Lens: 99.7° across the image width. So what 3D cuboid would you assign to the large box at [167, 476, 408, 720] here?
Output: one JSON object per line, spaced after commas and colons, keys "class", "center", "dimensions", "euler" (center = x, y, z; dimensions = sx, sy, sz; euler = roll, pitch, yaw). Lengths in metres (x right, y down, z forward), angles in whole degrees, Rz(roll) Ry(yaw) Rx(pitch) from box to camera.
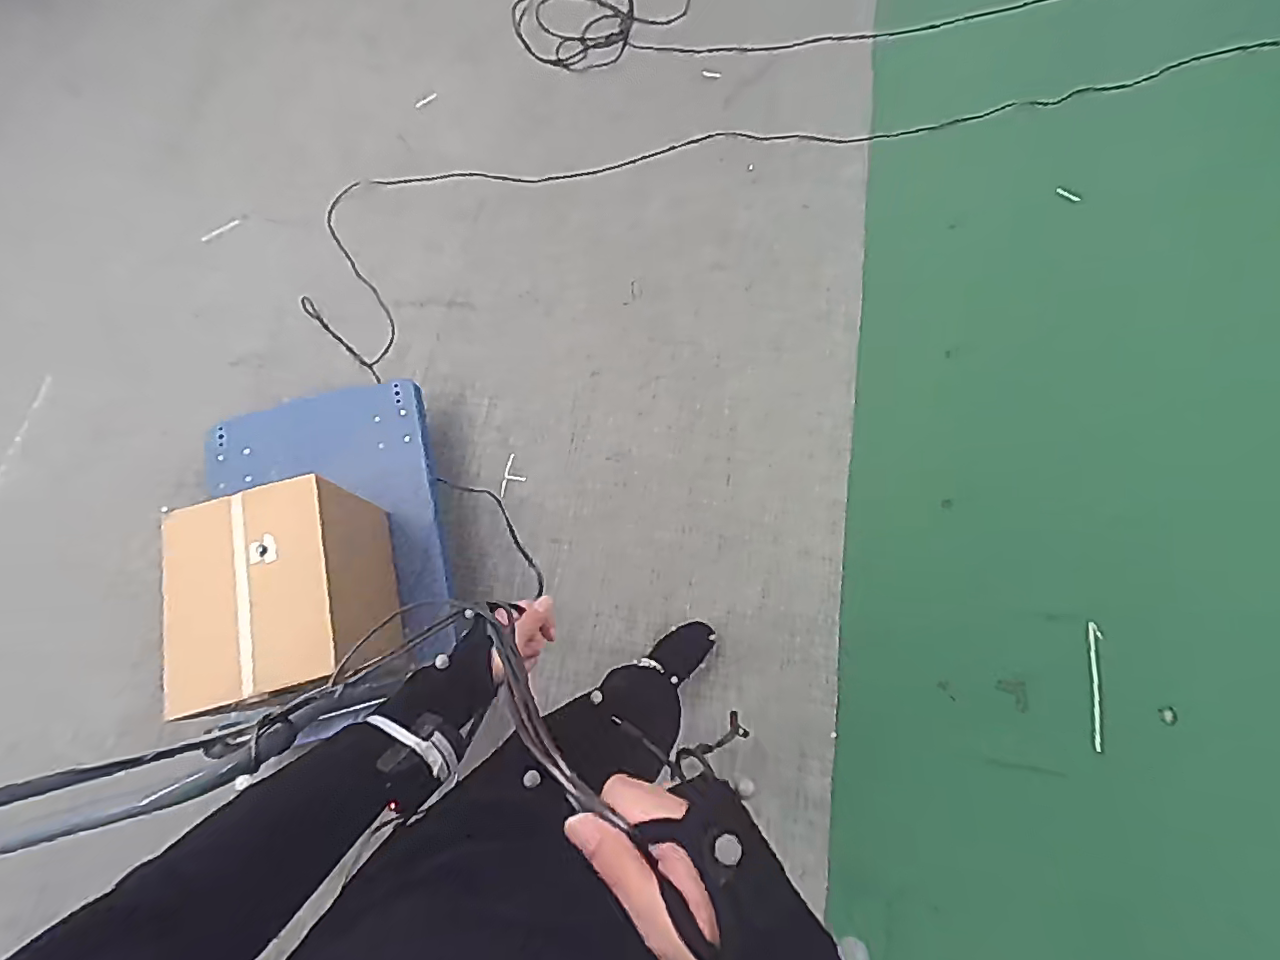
{"class": "large box", "center": [-0.747, 0.259, 1.178], "dimensions": [0.320, 0.320, 0.408], "euler": [-15, 72, -4]}
